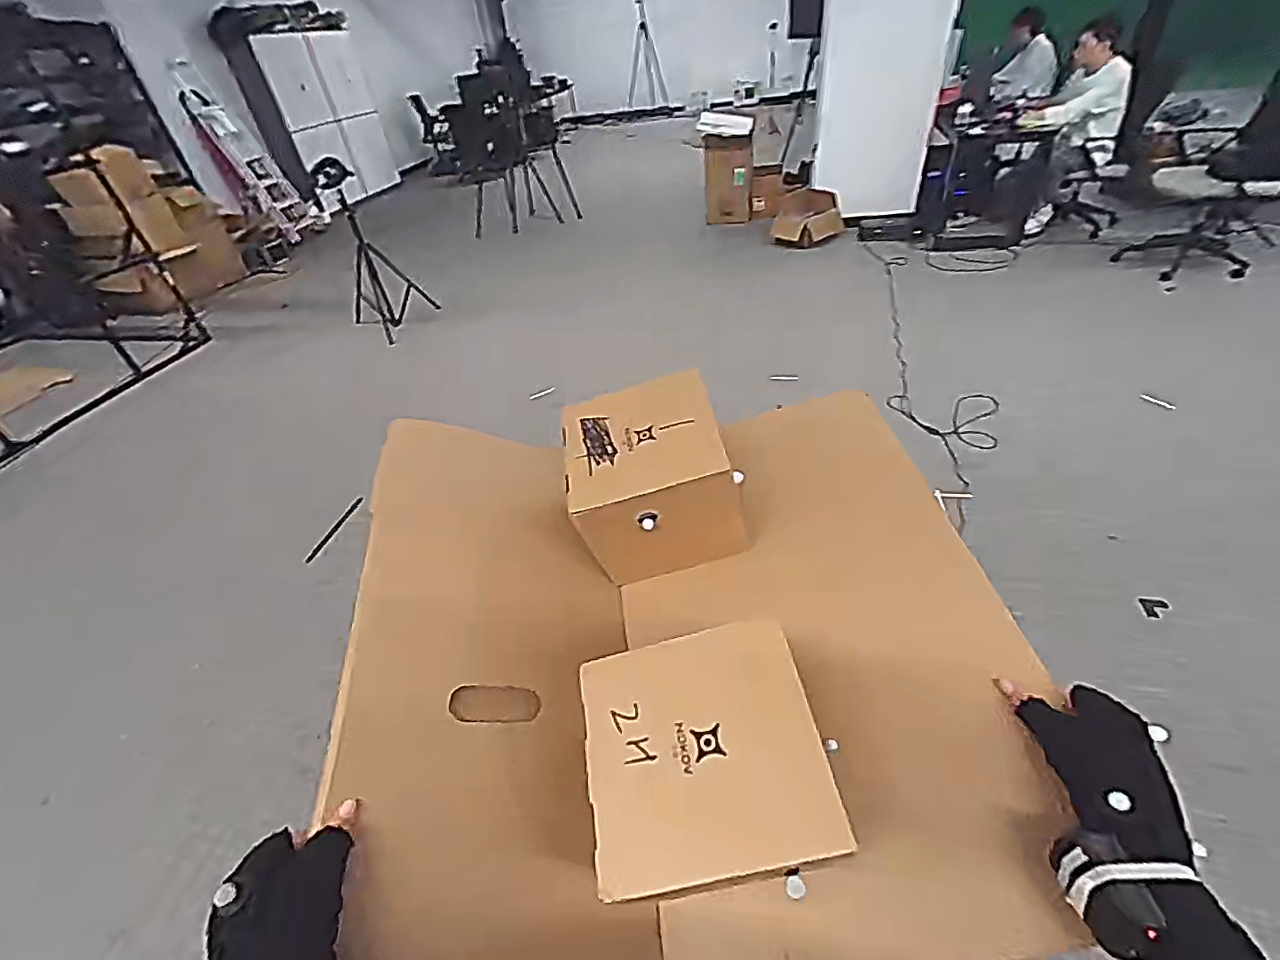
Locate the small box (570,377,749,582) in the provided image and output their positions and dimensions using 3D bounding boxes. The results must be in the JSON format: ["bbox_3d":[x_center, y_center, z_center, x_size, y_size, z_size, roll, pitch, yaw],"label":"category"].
[{"bbox_3d":[0.025,0.007,0.674,0.179,0.176,0.168,-16,50,7],"label":"small box"}]

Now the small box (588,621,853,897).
[{"bbox_3d":[0.068,0.247,0.471,0.179,0.176,0.168,-16,50,8],"label":"small box"}]
